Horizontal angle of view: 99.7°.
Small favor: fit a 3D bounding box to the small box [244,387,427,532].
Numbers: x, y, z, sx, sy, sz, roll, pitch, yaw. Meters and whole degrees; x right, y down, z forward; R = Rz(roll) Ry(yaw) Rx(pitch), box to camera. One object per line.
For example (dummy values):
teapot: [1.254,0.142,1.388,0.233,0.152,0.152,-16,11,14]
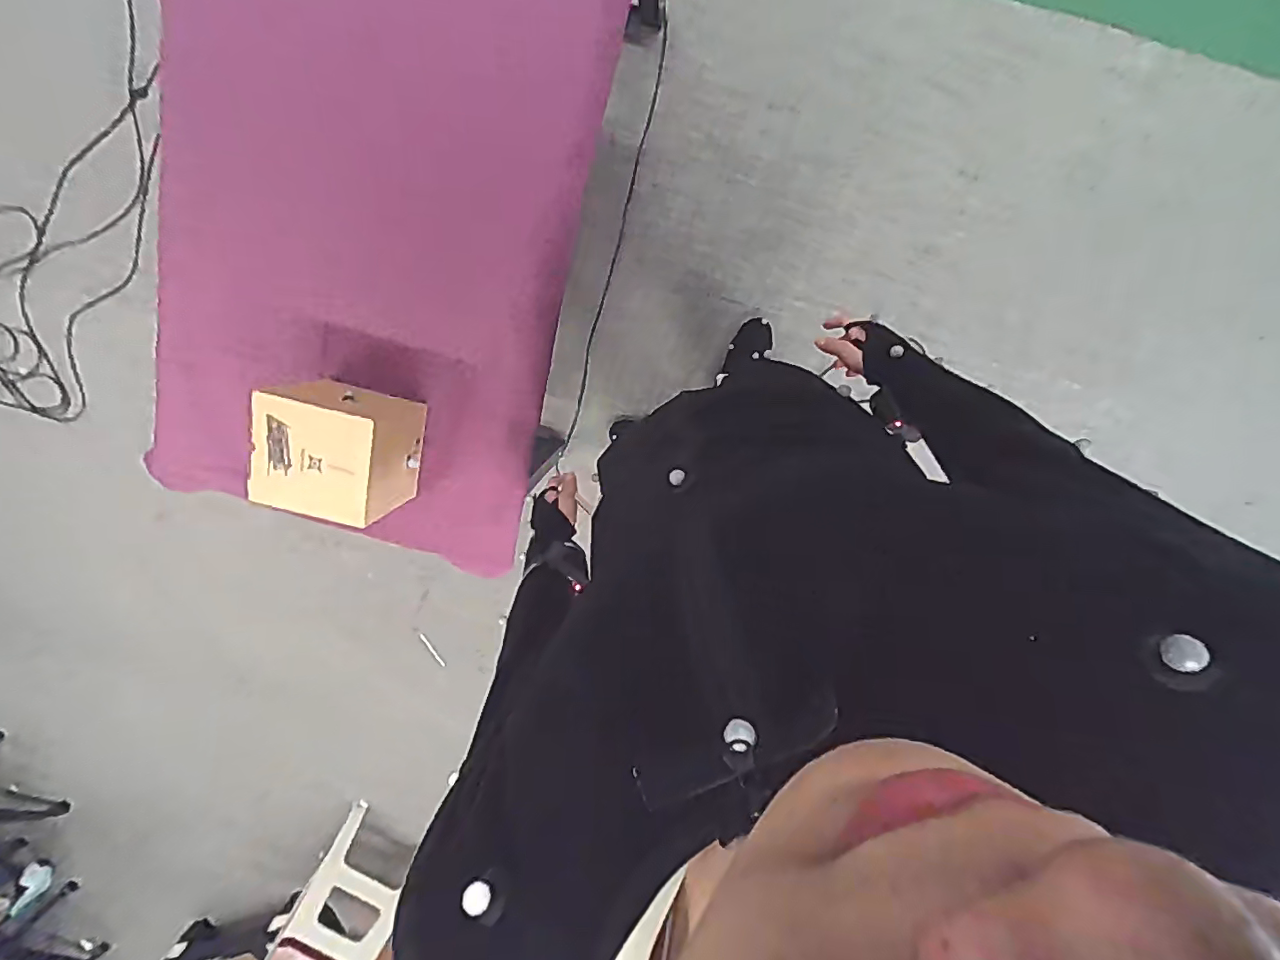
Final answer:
small box: [-0.453,-0.041,0.822,0.179,0.176,0.168,14,106,-1]
